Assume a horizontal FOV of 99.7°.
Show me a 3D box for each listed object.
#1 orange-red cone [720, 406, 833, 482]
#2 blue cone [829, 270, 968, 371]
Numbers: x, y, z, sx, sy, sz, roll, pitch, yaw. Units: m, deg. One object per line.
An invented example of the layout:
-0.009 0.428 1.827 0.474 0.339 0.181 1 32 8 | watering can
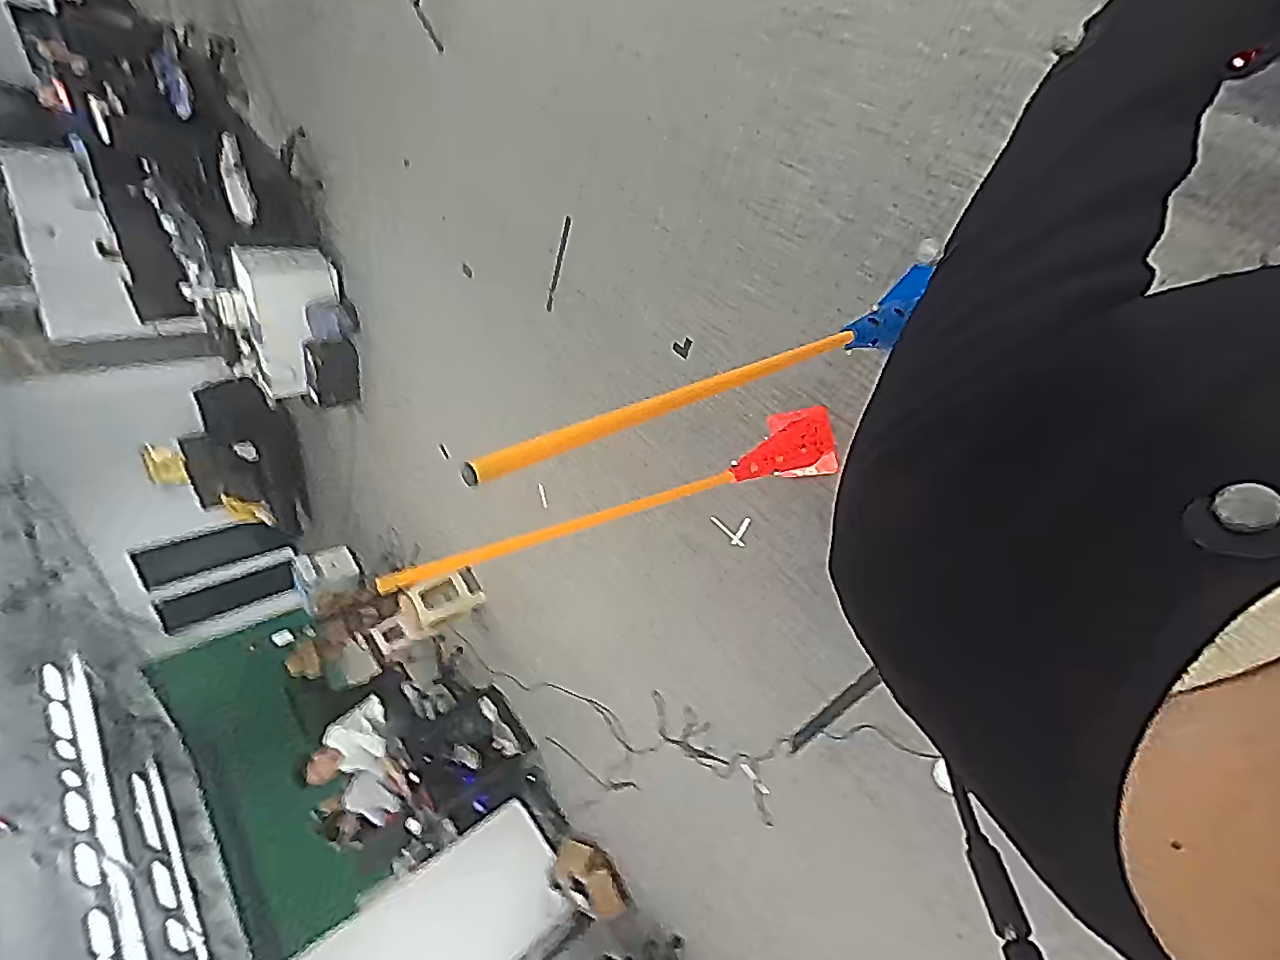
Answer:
0.342 -0.063 1.476 0.199 0.360 0.198 -5 103 48 | orange-red cone
0.528 -0.329 1.173 0.193 0.380 0.192 56 140 15 | blue cone
